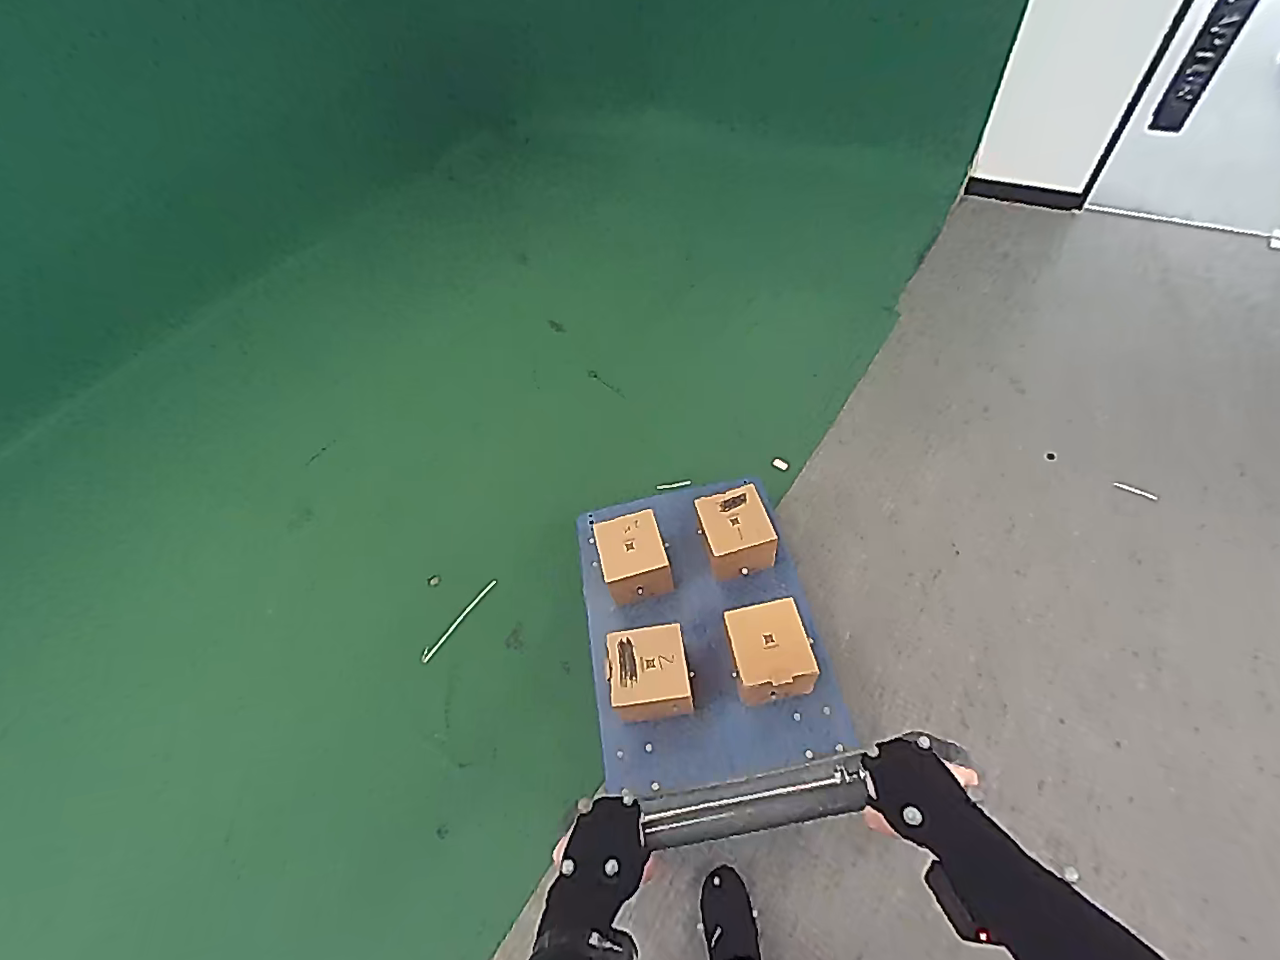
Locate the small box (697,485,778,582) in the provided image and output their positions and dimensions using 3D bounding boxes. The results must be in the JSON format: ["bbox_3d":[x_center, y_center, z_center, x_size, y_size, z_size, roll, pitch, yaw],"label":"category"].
[{"bbox_3d":[0.255,0.146,1.442,0.168,0.176,0.179,-16,56,-1],"label":"small box"}]

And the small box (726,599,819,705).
[{"bbox_3d":[0.298,0.403,1.260,0.168,0.176,0.179,-12,55,1],"label":"small box"}]

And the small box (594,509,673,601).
[{"bbox_3d":[-0.014,0.208,1.442,0.168,0.176,0.179,-15,55,-2],"label":"small box"}]
